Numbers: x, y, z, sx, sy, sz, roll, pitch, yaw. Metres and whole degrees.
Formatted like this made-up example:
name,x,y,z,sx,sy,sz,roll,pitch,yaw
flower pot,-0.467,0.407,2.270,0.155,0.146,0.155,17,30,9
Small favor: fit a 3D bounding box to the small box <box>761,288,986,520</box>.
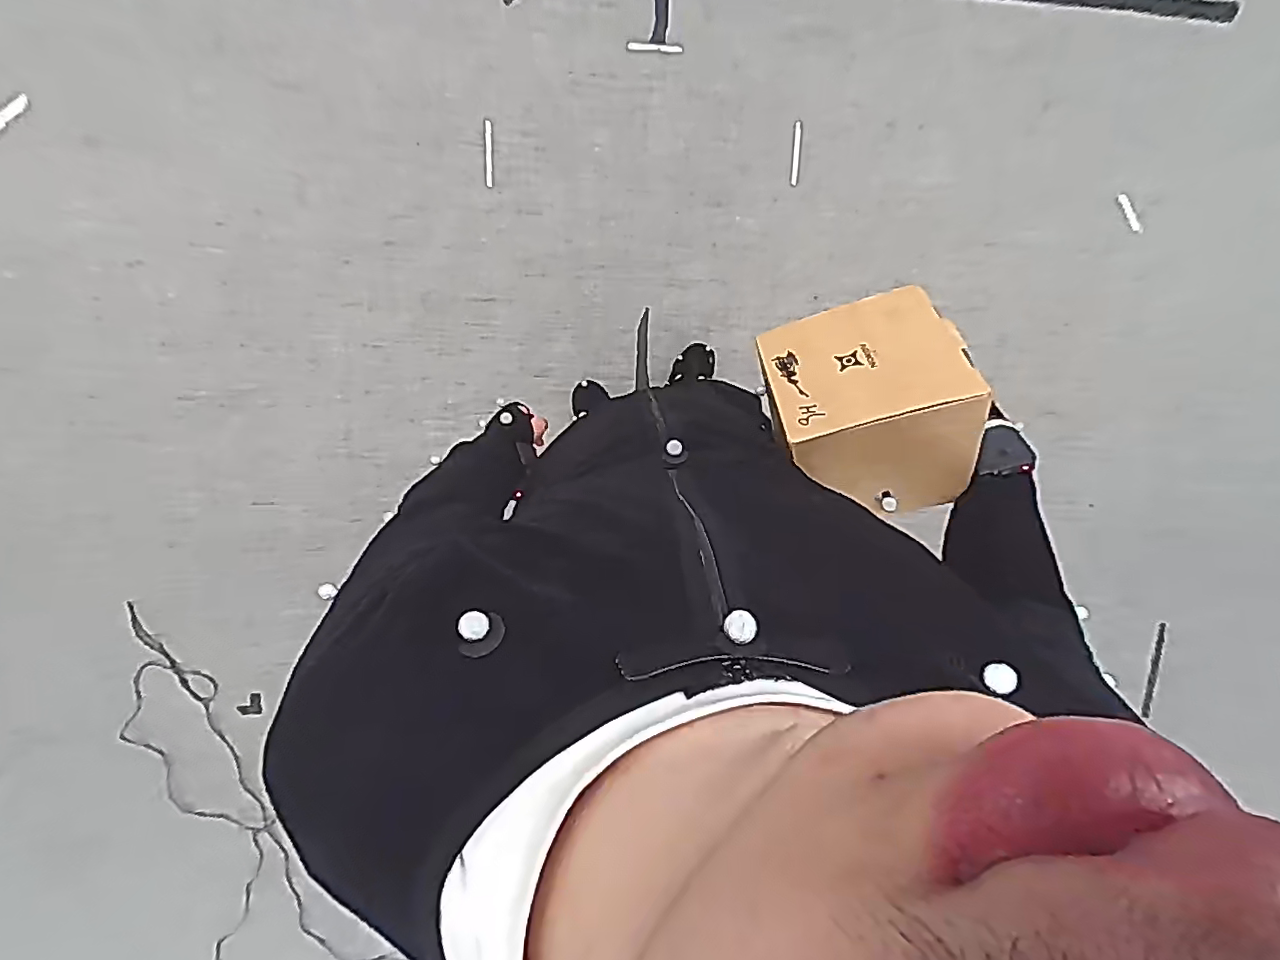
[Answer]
name,x,y,z,sx,sy,sz,roll,pitch,yaw
small box,0.246,-0.077,0.607,0.179,0.168,0.176,-14,140,12
